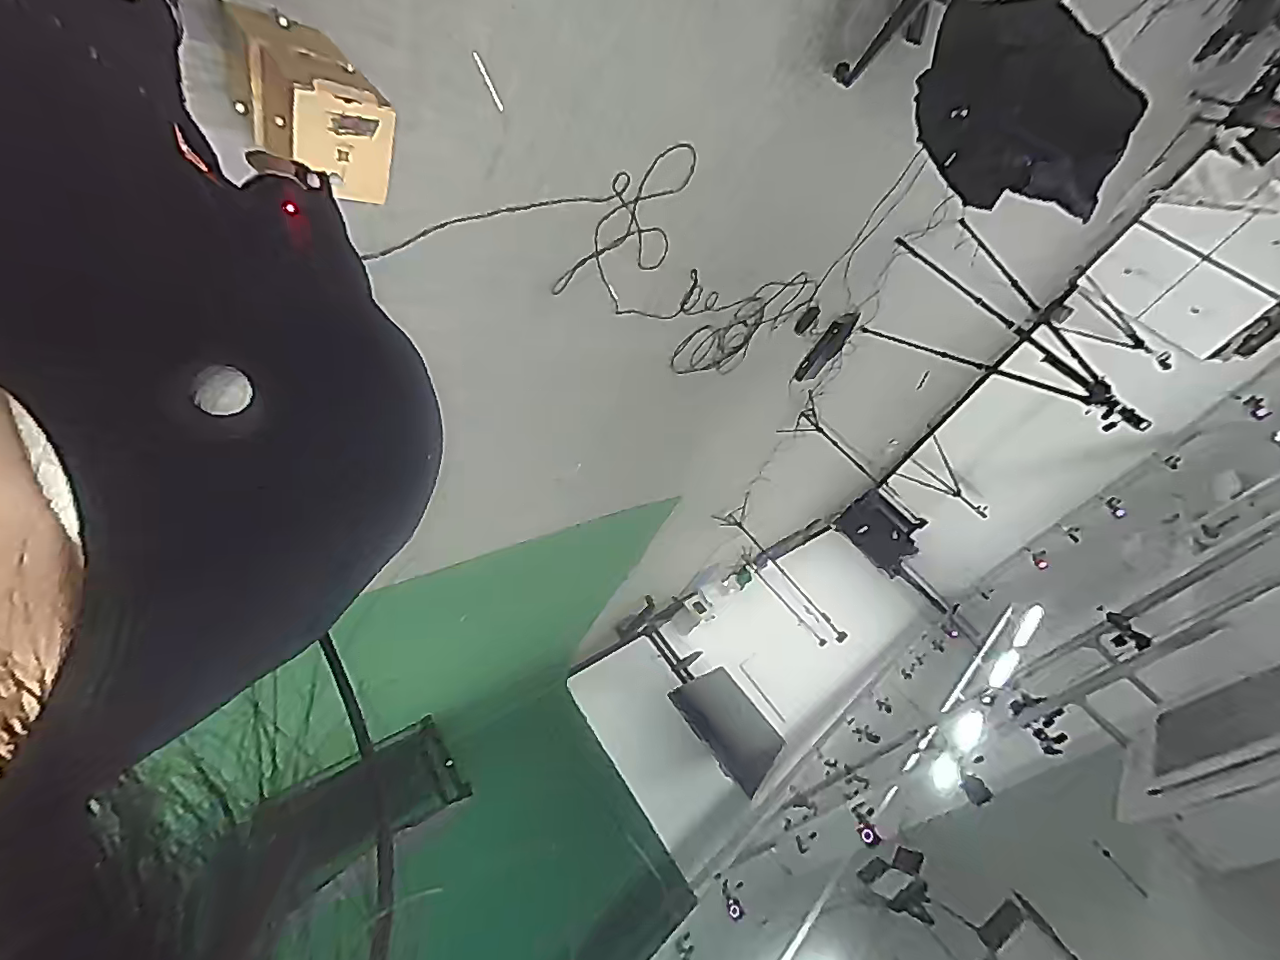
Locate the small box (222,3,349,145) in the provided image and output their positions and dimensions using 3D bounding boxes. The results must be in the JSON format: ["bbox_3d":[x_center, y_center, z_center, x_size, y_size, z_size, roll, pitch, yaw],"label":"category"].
[{"bbox_3d":[-0.687,-0.770,1.052,0.168,0.176,0.179,-17,148,-41],"label":"small box"}]

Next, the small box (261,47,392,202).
[{"bbox_3d":[-0.583,-0.654,1.001,0.168,0.176,0.179,-16,148,-42],"label":"small box"}]
